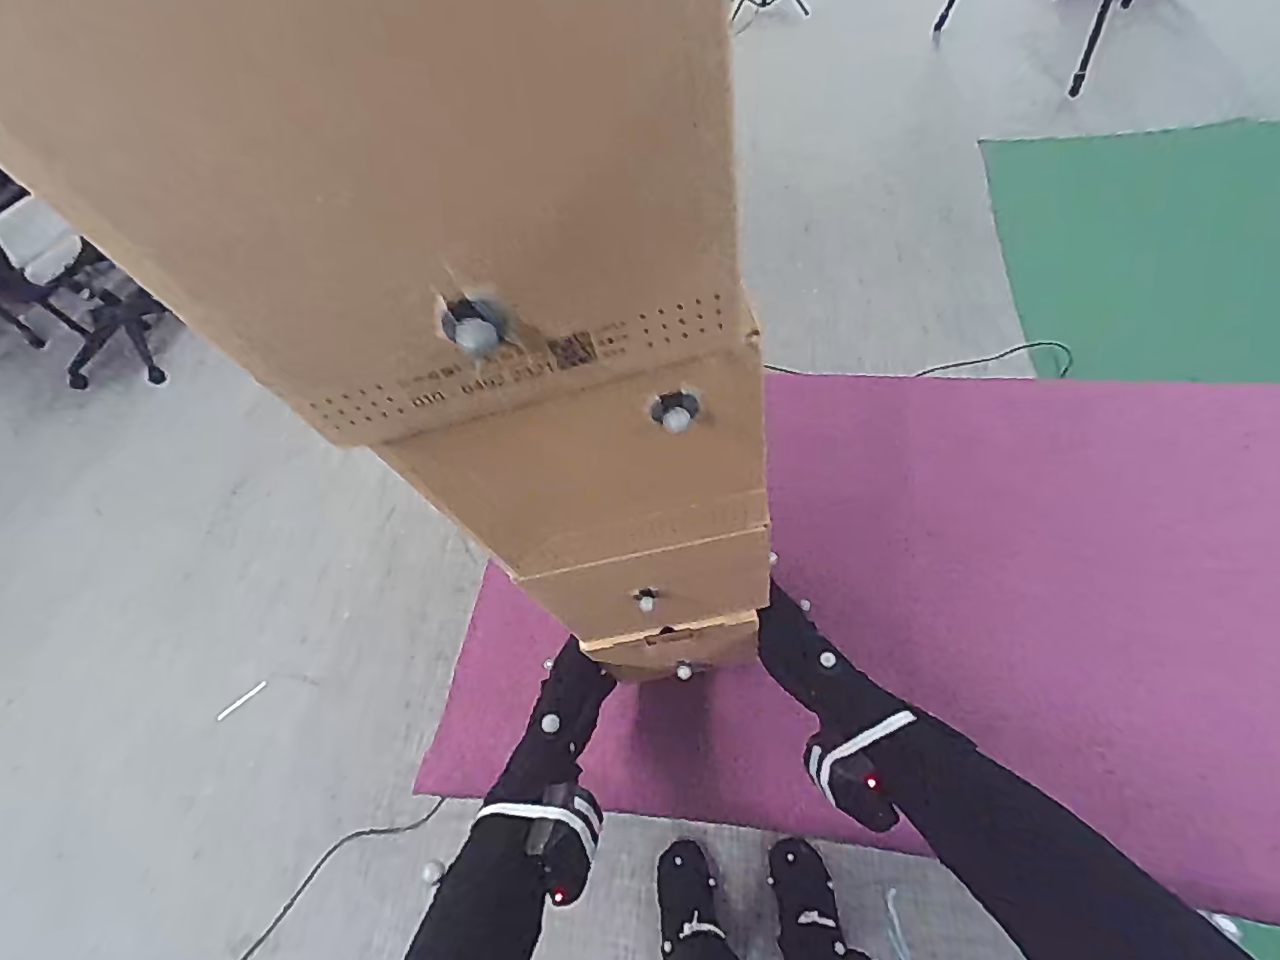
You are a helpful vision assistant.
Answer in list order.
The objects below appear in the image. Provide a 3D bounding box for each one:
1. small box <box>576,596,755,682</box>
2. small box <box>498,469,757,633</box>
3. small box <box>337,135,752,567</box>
[{"bbox_3d":[0.028,0.108,0.599,0.168,0.176,0.179,-12,58,7],"label":"small box"},{"bbox_3d":[-0.001,0.019,0.461,0.179,0.176,0.168,-10,56,8],"label":"small box"},{"bbox_3d":[-0.038,-0.062,0.328,0.179,0.176,0.168,-13,57,6],"label":"small box"}]
